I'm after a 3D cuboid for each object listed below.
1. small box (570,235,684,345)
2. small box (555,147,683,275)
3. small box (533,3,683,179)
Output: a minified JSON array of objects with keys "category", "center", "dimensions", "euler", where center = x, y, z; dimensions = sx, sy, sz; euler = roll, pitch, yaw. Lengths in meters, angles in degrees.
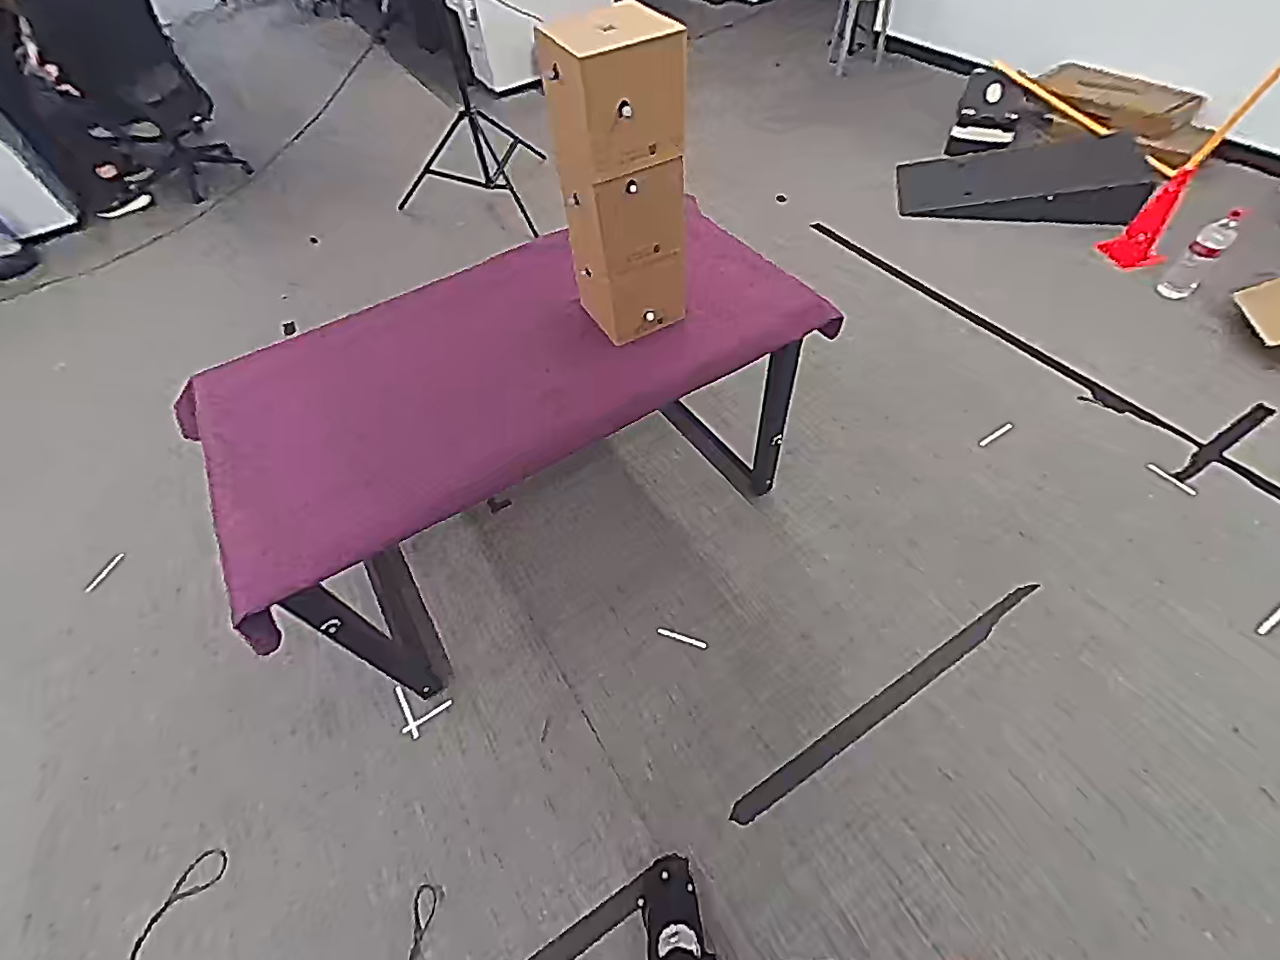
[{"category":"small box","center":[-0.024,-0.410,1.108],"dimensions":[0.168,0.176,0.179],"euler":[-27,57,-13]},{"category":"small box","center":[-0.034,-0.502,0.973],"dimensions":[0.168,0.176,0.179],"euler":[-25,55,-12]},{"category":"small box","center":[-0.043,-0.592,0.837],"dimensions":[0.168,0.176,0.179],"euler":[-26,56,-12]}]
